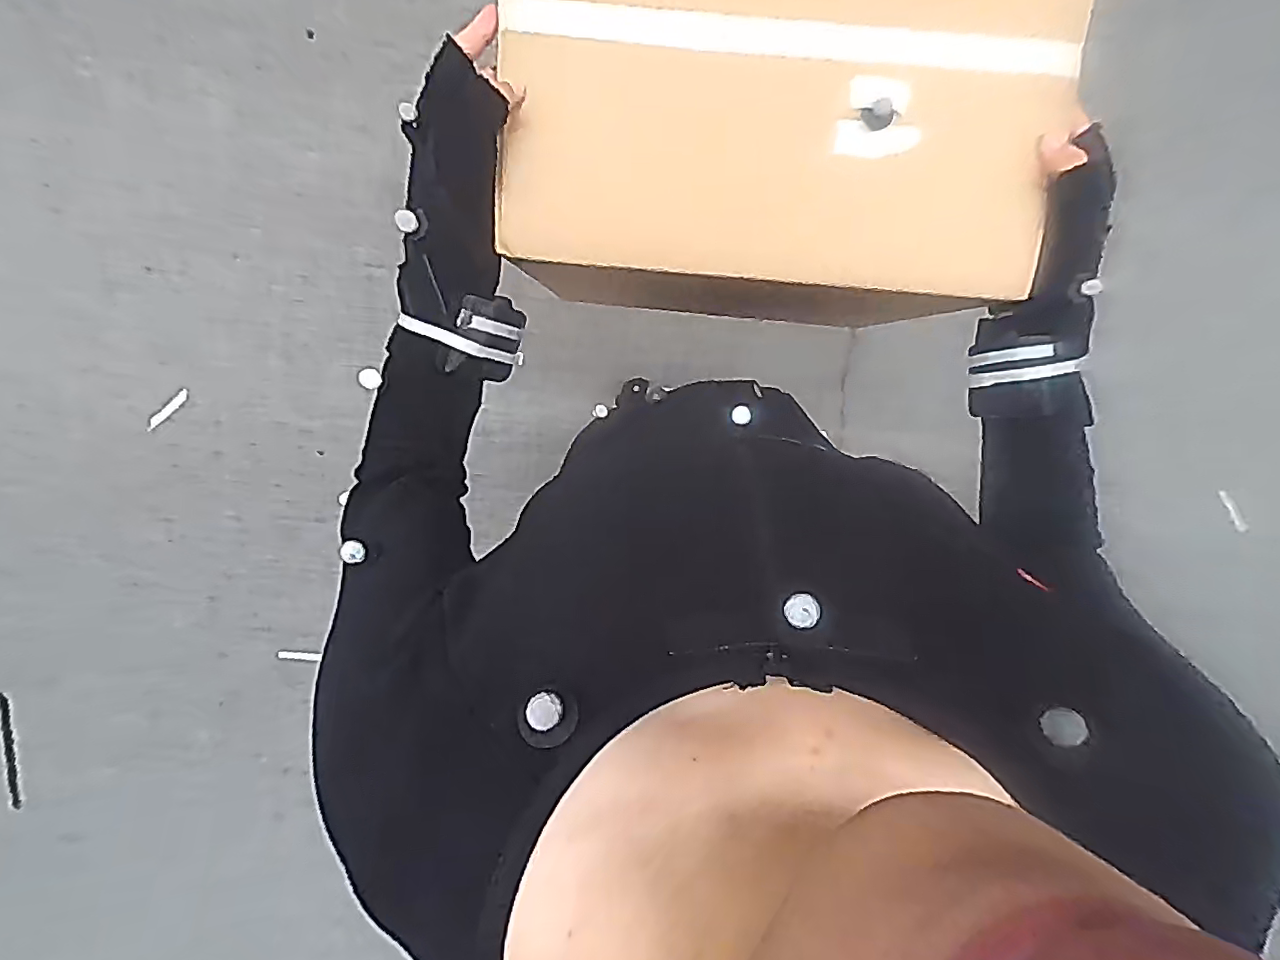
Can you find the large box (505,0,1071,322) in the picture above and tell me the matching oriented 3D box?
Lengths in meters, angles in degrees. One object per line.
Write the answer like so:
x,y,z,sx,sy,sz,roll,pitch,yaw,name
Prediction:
0.102,-0.341,0.535,0.408,0.320,0.320,4,102,-1,large box
